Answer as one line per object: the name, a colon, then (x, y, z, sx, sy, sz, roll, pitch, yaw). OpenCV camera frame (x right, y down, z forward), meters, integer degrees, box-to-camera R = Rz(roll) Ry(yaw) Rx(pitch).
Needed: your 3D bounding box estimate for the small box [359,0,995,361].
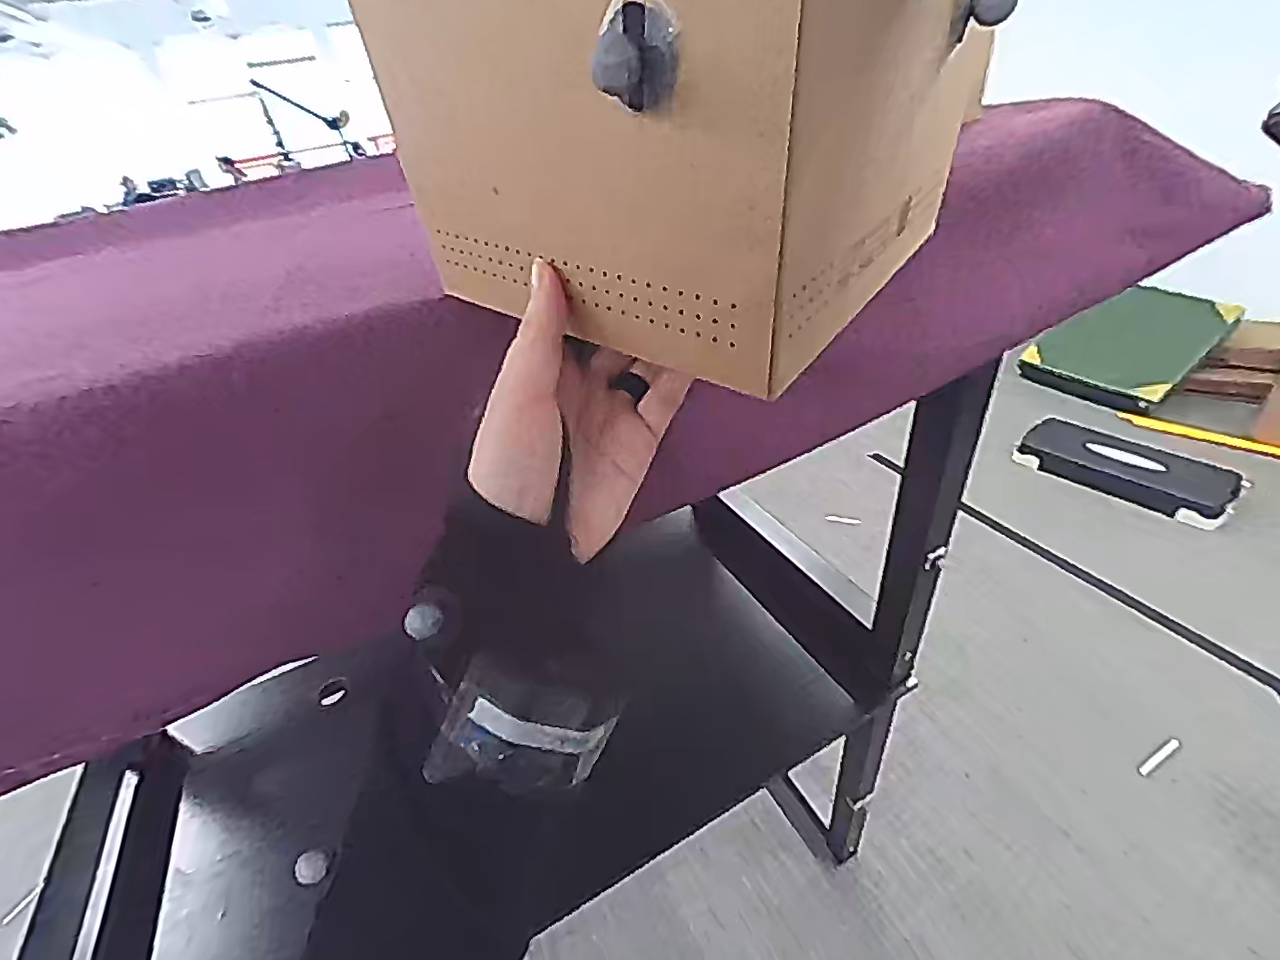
small box: (0.021, -0.165, 0.202, 0.179, 0.176, 0.168, 25, 51, 30)
